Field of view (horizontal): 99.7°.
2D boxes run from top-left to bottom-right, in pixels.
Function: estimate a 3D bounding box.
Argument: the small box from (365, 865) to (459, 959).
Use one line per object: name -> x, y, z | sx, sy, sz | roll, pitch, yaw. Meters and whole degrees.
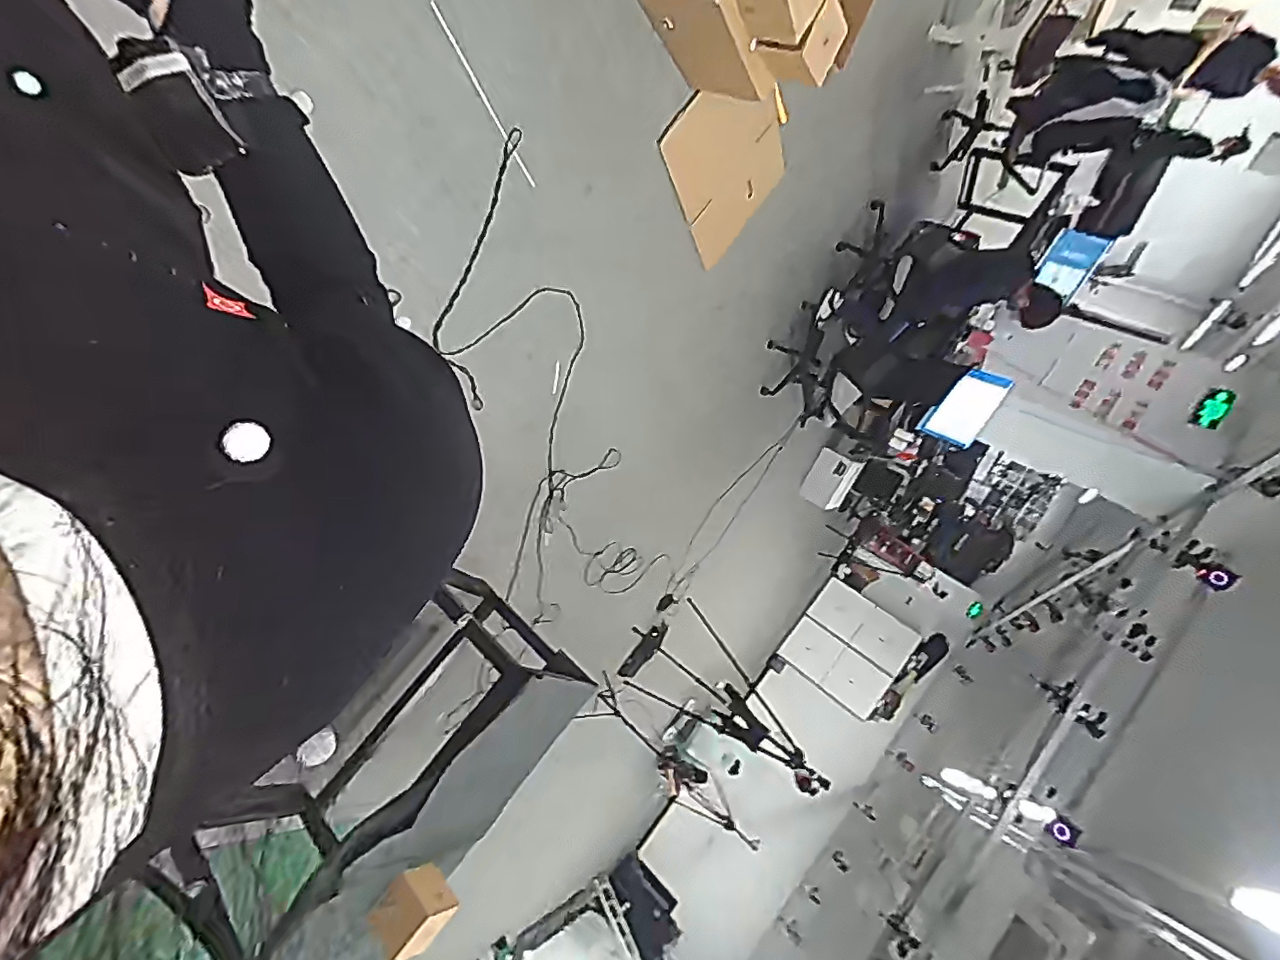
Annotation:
small box -> -0.720, 1.359, 1.709 | 0.168, 0.176, 0.179 | -49, 151, -12
